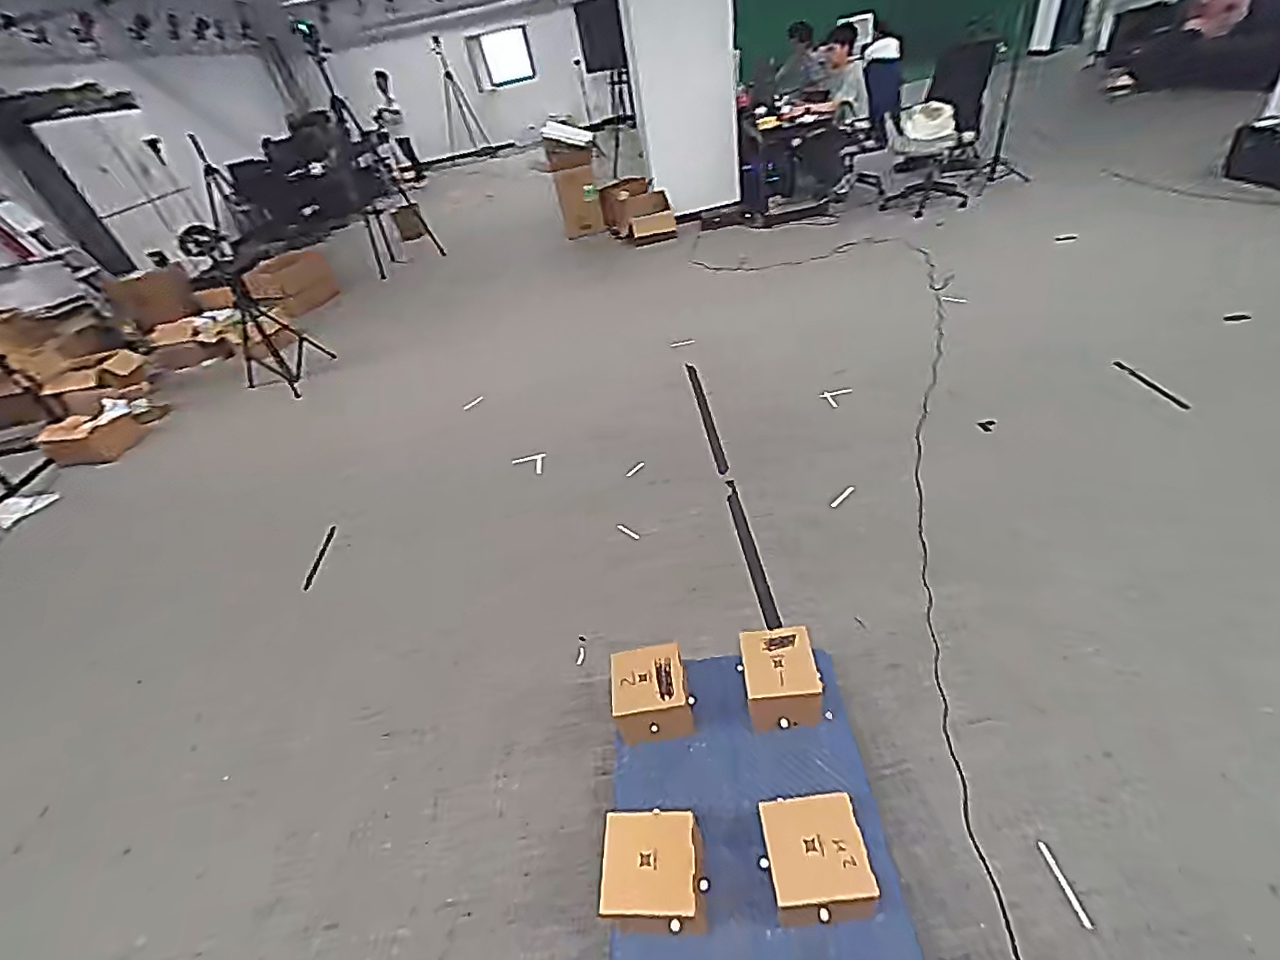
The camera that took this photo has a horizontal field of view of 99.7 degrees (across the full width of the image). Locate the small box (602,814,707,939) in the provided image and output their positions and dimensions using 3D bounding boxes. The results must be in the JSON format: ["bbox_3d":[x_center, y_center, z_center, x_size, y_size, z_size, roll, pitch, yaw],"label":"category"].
[{"bbox_3d":[0.033,0.782,1.065,0.179,0.176,0.168,-7,40,7],"label":"small box"}]

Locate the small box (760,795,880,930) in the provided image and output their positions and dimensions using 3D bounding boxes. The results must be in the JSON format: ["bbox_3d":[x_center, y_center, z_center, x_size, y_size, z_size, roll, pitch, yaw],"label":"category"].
[{"bbox_3d":[0.337,0.733,1.033,0.179,0.176,0.168,-10,39,4],"label":"small box"}]

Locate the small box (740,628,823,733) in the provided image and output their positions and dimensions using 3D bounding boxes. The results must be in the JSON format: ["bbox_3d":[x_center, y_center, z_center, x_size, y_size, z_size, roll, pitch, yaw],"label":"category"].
[{"bbox_3d":[0.339,0.490,1.321,0.168,0.176,0.179,-8,41,7],"label":"small box"}]
